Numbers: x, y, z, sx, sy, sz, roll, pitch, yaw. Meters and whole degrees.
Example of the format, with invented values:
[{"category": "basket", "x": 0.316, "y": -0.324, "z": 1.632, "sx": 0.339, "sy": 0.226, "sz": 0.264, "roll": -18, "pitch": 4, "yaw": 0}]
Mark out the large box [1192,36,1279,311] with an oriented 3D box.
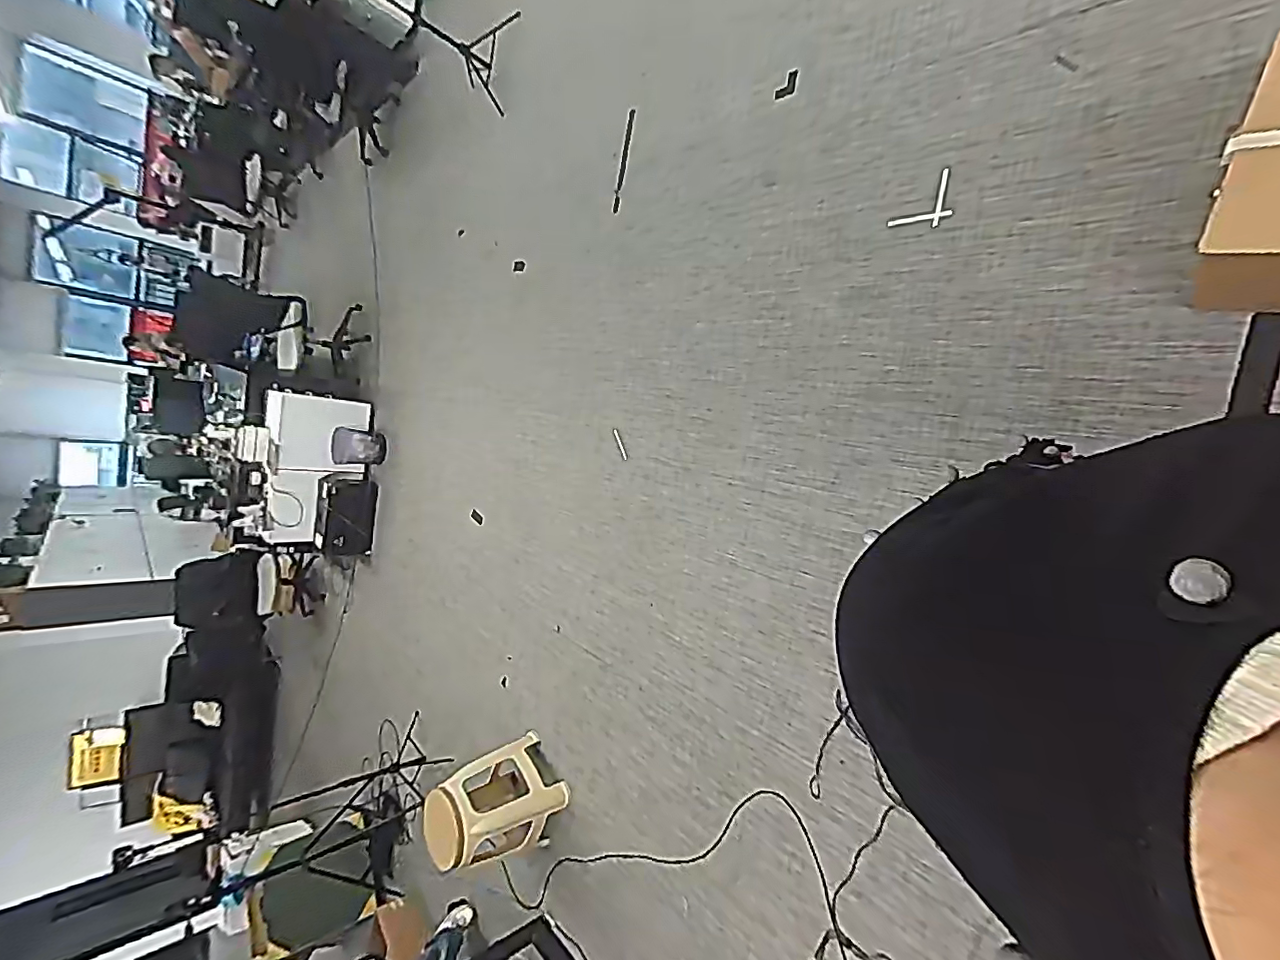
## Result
[{"category": "large box", "x": 1.100, "y": -0.426, "z": 0.752, "sx": 0.408, "sy": 0.320, "sz": 0.320, "roll": 21, "pitch": 103, "yaw": 42}]
